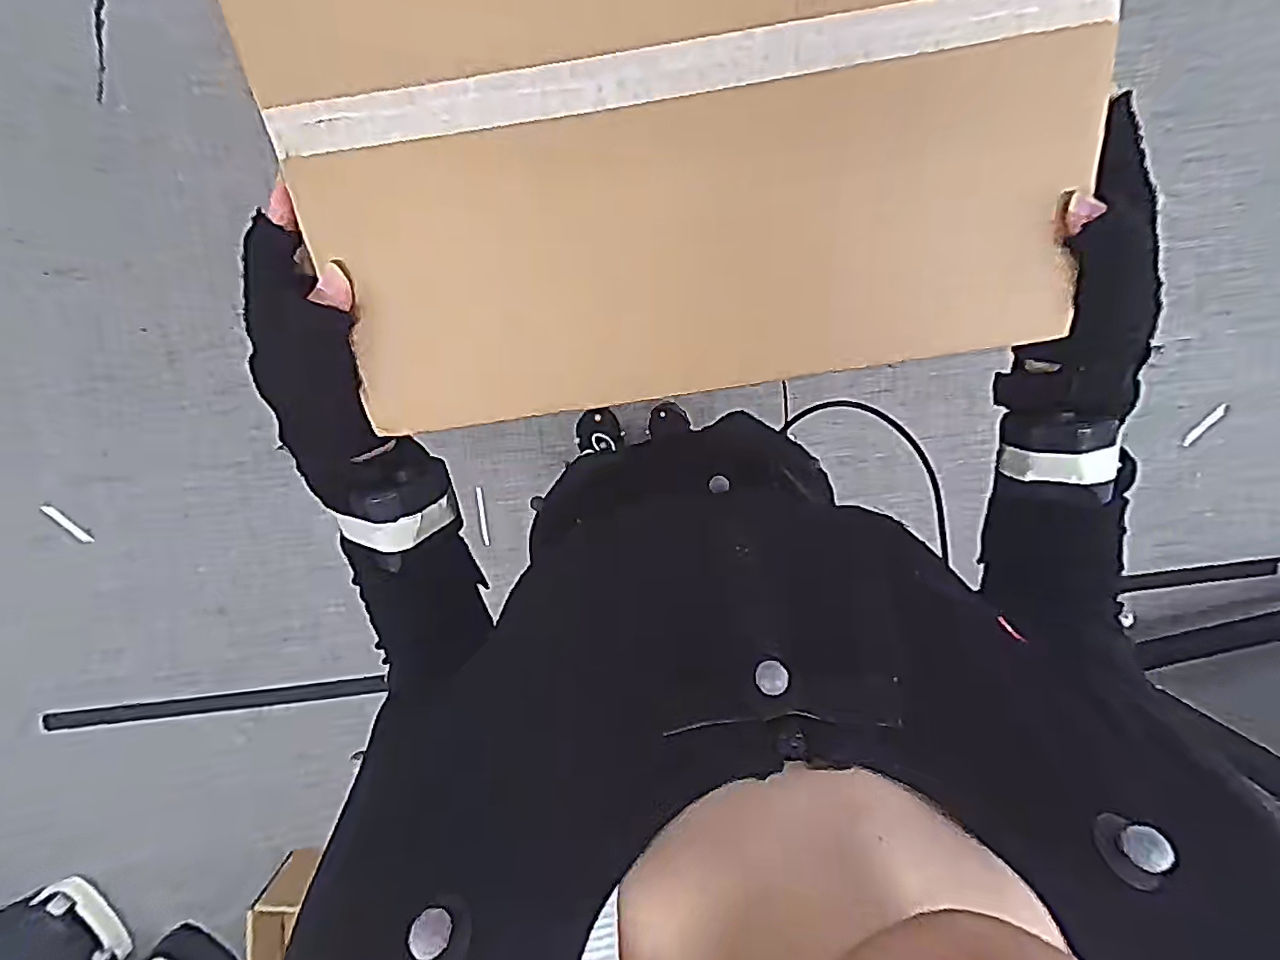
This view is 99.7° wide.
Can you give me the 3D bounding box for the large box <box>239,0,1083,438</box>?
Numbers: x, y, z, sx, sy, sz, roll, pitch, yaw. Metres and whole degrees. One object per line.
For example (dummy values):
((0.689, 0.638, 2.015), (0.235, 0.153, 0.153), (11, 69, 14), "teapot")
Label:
((0.015, -0.252, 0.406), (0.408, 0.320, 0.320), (-8, 112, 1), "large box")
